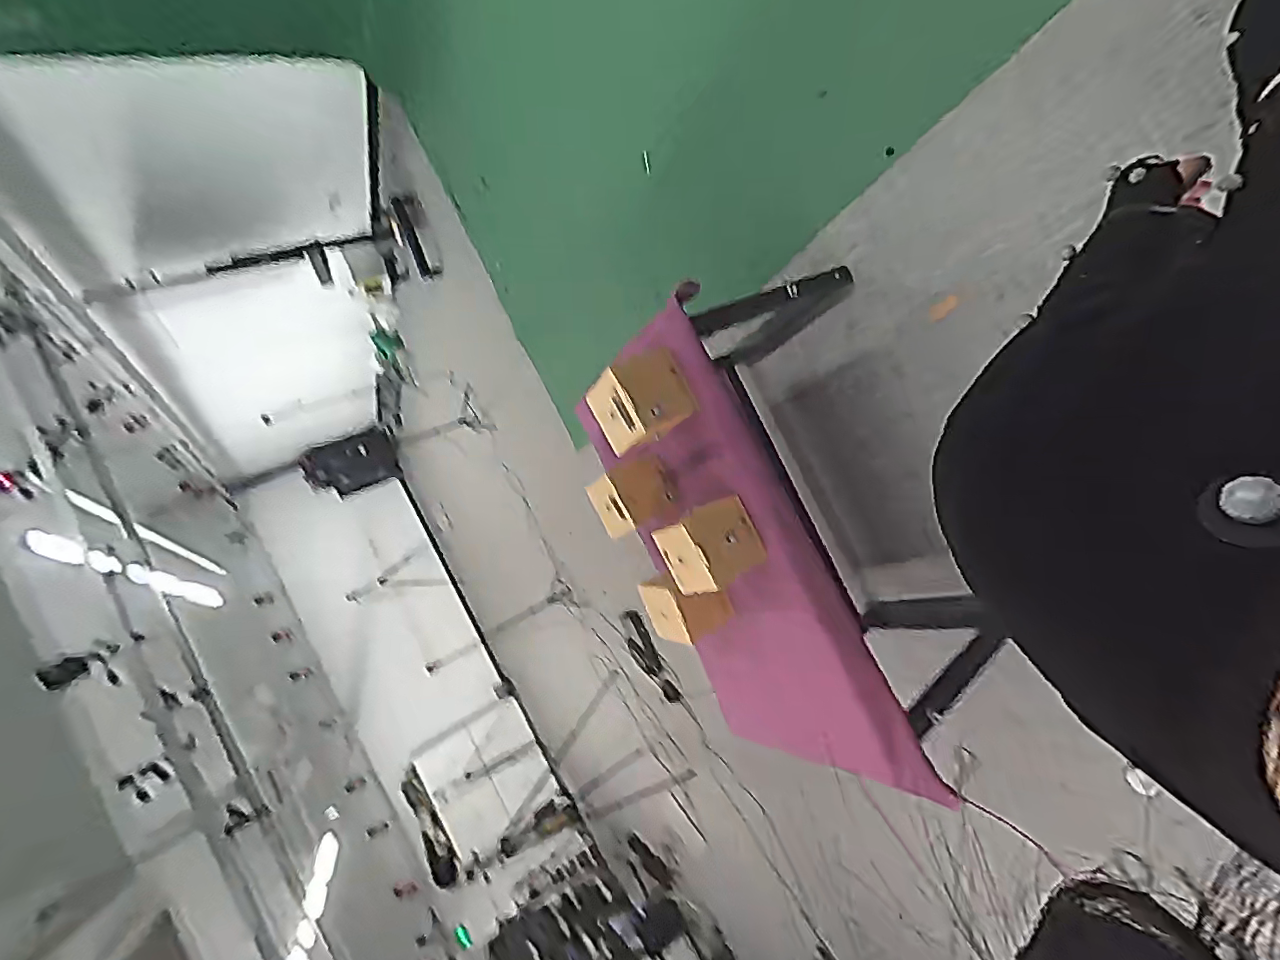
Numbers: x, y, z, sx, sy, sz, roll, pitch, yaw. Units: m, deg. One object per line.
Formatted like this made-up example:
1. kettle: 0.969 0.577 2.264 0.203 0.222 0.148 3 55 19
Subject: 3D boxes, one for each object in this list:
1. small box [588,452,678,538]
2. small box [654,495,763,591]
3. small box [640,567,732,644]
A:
1. small box: -0.016 0.041 1.513 0.168 0.176 0.179 62 152 3
2. small box: 0.171 0.152 1.303 0.168 0.176 0.179 63 151 1
3. small box: 0.134 0.330 1.507 0.179 0.176 0.168 -11 103 60
